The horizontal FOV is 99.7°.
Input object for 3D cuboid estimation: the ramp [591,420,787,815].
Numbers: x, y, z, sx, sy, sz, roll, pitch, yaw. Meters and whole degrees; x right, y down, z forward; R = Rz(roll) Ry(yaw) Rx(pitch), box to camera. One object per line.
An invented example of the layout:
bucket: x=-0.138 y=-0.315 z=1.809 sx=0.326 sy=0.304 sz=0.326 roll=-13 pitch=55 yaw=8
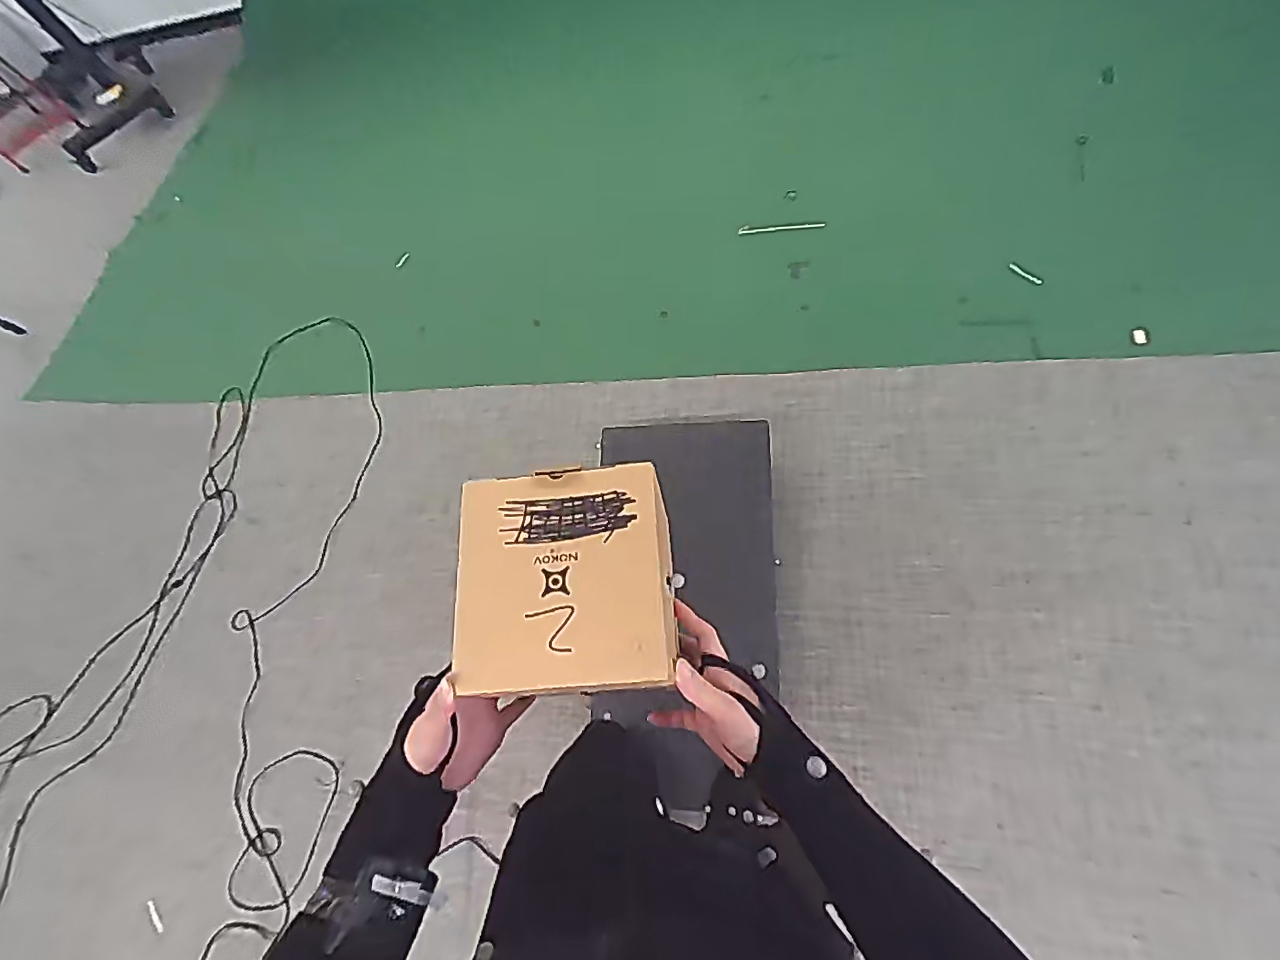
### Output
ramp: x=0.122 y=0.321 z=1.446 sx=0.509 sy=0.206 sz=0.991 roll=-3 pitch=66 yaw=10
